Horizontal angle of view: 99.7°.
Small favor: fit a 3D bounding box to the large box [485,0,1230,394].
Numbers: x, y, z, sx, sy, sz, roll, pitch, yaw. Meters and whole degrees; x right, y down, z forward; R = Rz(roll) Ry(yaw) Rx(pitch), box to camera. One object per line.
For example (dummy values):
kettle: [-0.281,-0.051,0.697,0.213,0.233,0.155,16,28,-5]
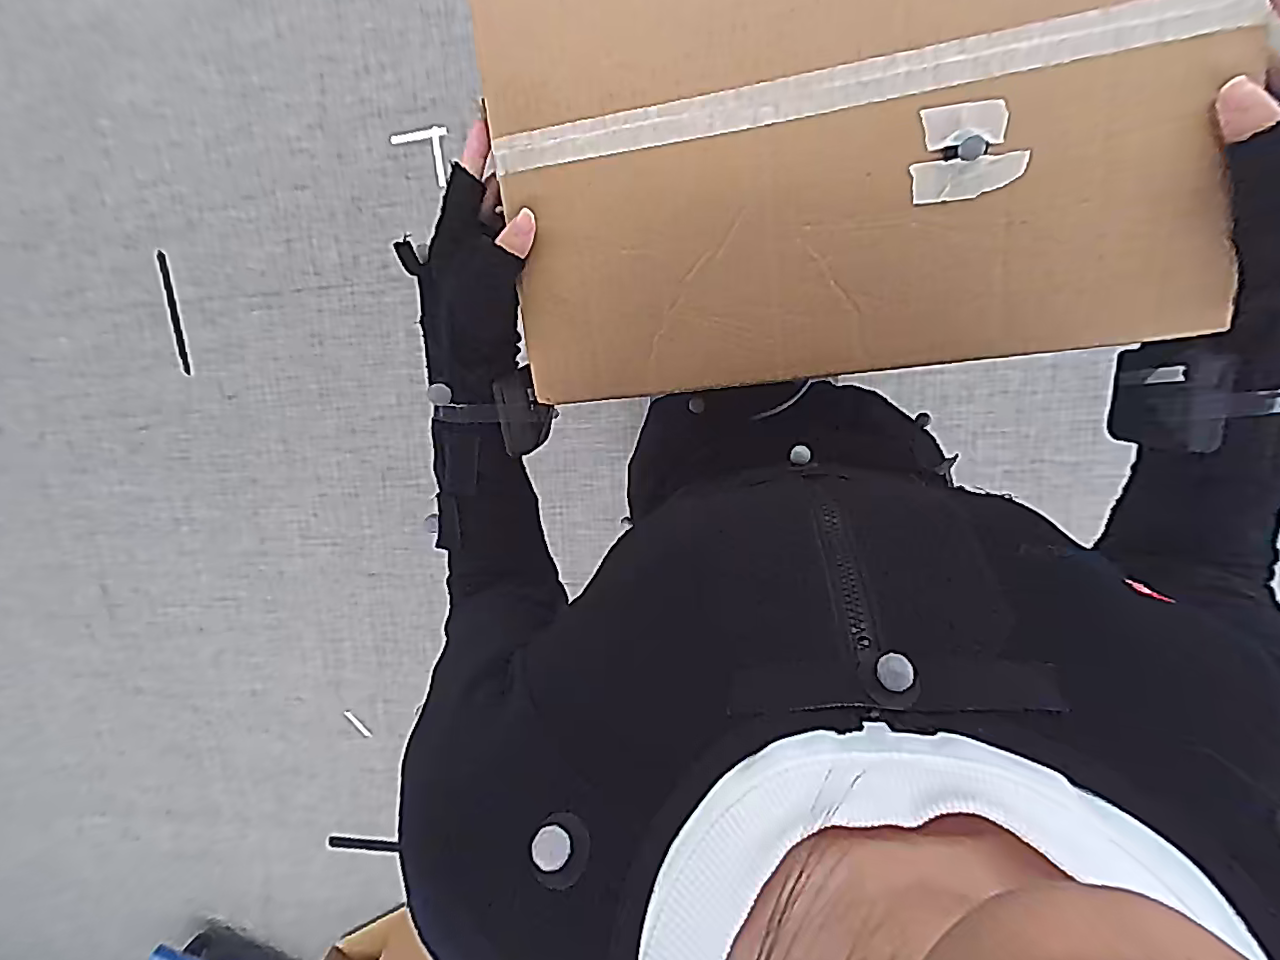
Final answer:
large box: [0.131,-0.261,0.458,0.408,0.320,0.320,-5,103,10]
